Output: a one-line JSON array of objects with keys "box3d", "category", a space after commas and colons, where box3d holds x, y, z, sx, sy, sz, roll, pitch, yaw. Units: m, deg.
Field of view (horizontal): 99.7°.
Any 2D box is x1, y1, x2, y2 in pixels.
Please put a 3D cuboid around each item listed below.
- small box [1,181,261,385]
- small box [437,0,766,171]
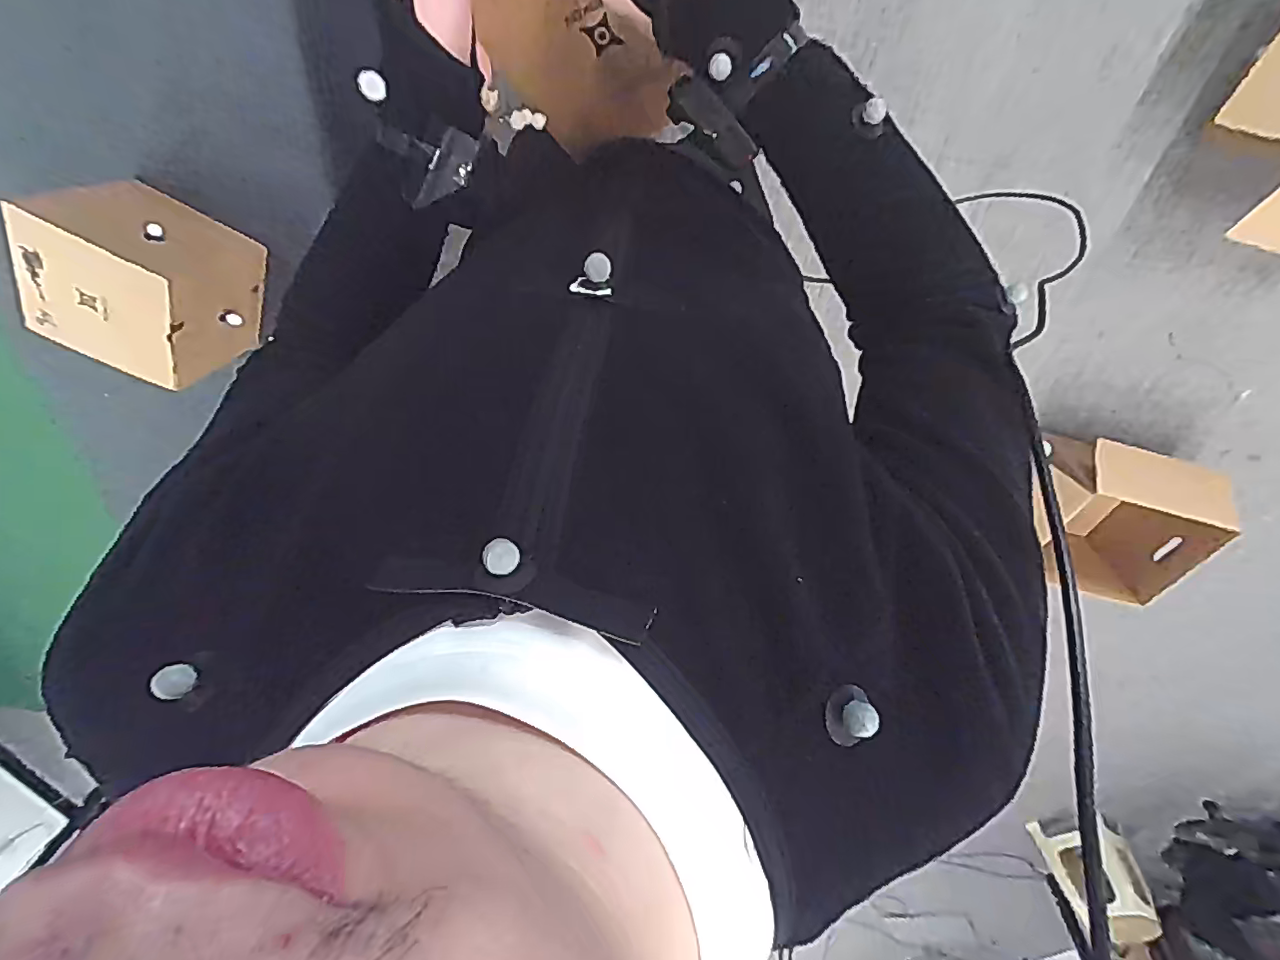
[{"box3d": [-0.631, -0.259, 0.698, 0.179, 0.176, 0.168, 26, 124, -13], "category": "small box"}, {"box3d": [-0.019, -0.375, 0.383, 0.168, 0.176, 0.179, -5, 164, 32], "category": "small box"}]
